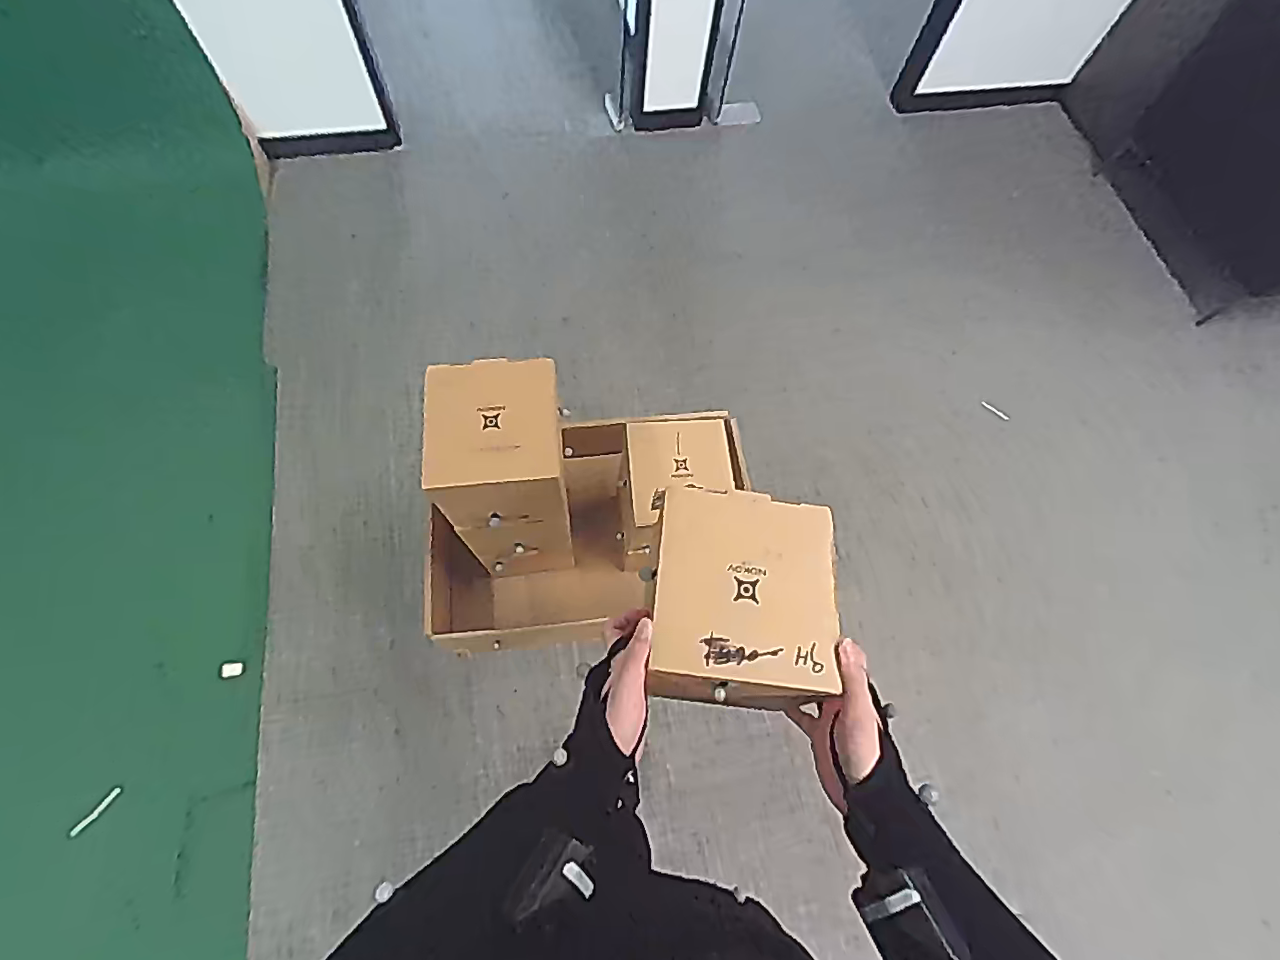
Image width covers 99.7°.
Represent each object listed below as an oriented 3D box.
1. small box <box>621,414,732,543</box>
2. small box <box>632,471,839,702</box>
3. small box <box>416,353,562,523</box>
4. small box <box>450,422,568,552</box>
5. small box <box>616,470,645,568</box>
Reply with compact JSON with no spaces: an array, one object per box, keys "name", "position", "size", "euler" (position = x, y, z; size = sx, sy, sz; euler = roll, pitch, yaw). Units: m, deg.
[{"name":"small box","position":[0.056,0.005,0.919],"size":[0.168,0.176,0.179],"euler":[-3,68,-6]},{"name":"small box","position":[0.085,0.115,0.550],"size":[0.168,0.176,0.179],"euler":[8,61,-1]},{"name":"small box","position":[-0.196,-0.053,0.745],"size":[0.168,0.176,0.179],"euler":[-4,68,-6]},{"name":"small box","position":[-0.210,0.008,0.895],"size":[0.168,0.176,0.179],"euler":[-5,68,-6]},{"name":"small box","position":[0.042,0.067,1.072],"size":[0.168,0.176,0.179],"euler":[-4,69,-6]}]
